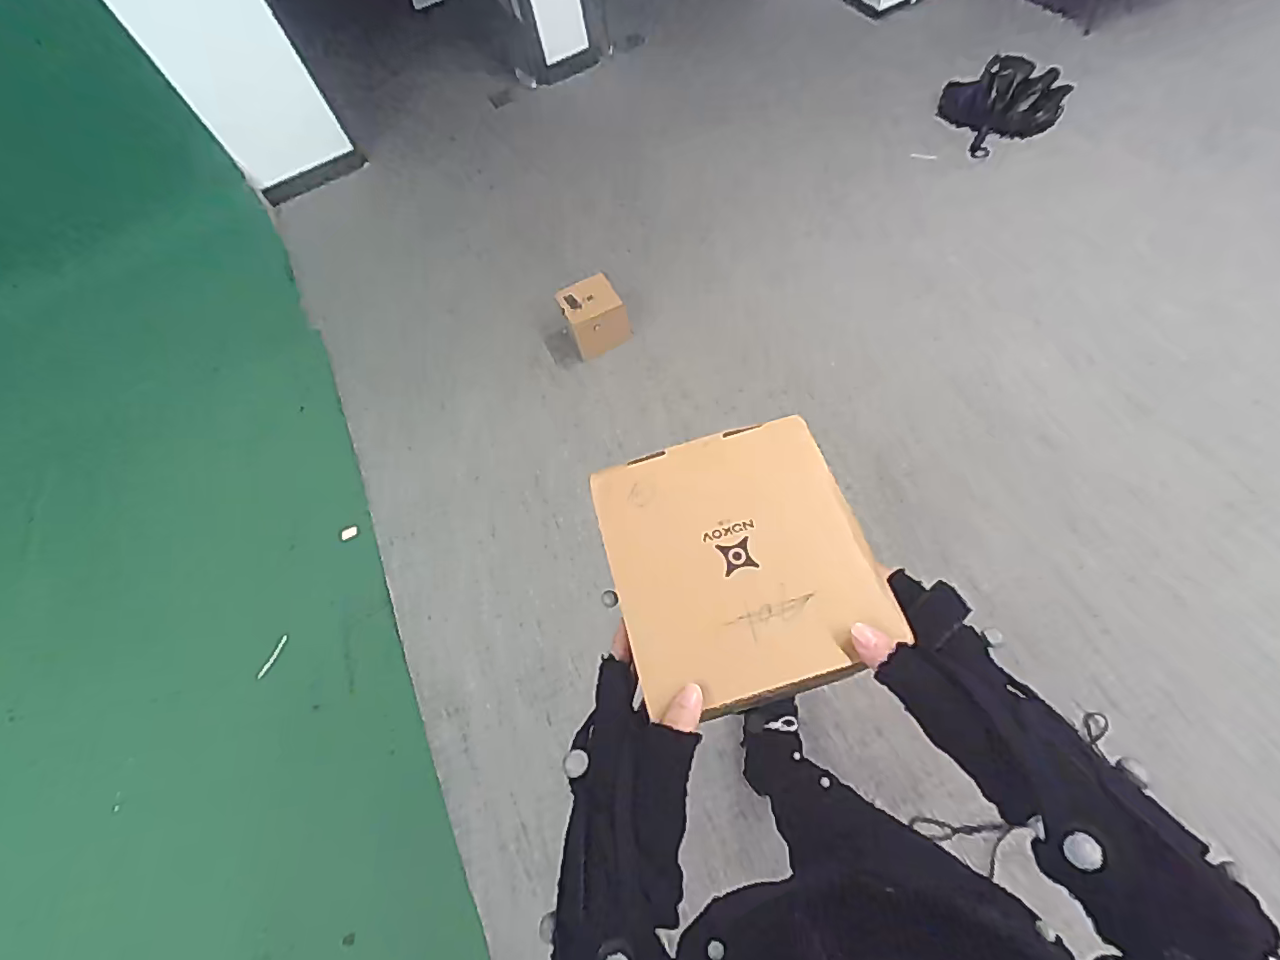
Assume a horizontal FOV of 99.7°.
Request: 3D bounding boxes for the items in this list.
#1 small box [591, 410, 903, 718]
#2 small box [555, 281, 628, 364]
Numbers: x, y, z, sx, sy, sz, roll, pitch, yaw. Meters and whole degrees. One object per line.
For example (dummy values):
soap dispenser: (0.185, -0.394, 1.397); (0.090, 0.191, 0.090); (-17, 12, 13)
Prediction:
small box: (0.068, 0.077, 0.435); (0.168, 0.176, 0.179); (-16, 63, -2)
small box: (-0.156, -0.514, 1.787); (0.179, 0.176, 0.168); (-26, 63, -5)
